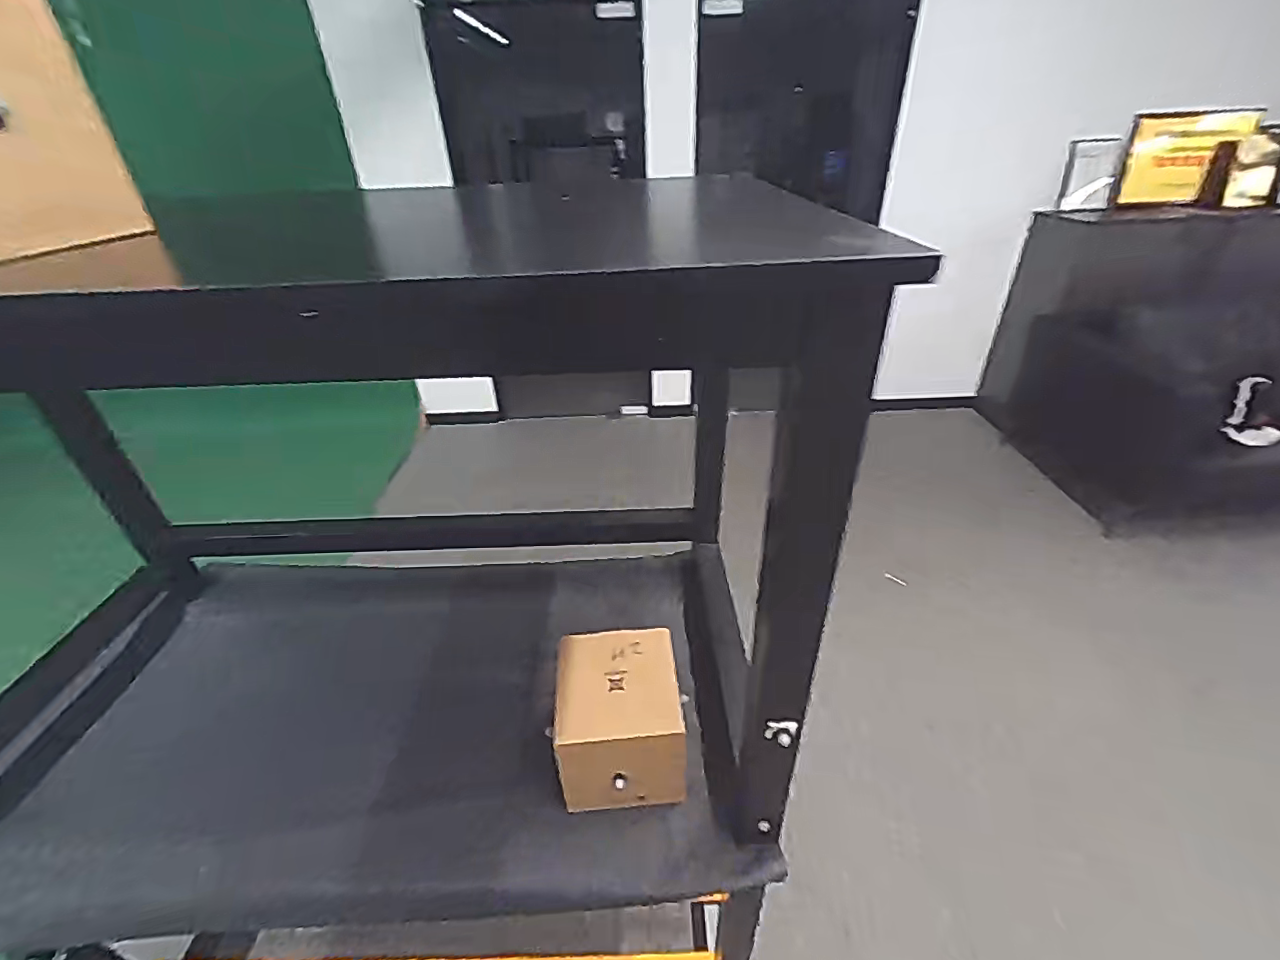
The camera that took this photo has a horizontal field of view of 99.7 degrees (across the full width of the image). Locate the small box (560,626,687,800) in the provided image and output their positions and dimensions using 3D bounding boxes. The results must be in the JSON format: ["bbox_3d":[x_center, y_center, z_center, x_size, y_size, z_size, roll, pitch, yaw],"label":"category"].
[{"bbox_3d":[-0.021,0.342,0.790,0.168,0.176,0.179,-4,33,-3],"label":"small box"}]
